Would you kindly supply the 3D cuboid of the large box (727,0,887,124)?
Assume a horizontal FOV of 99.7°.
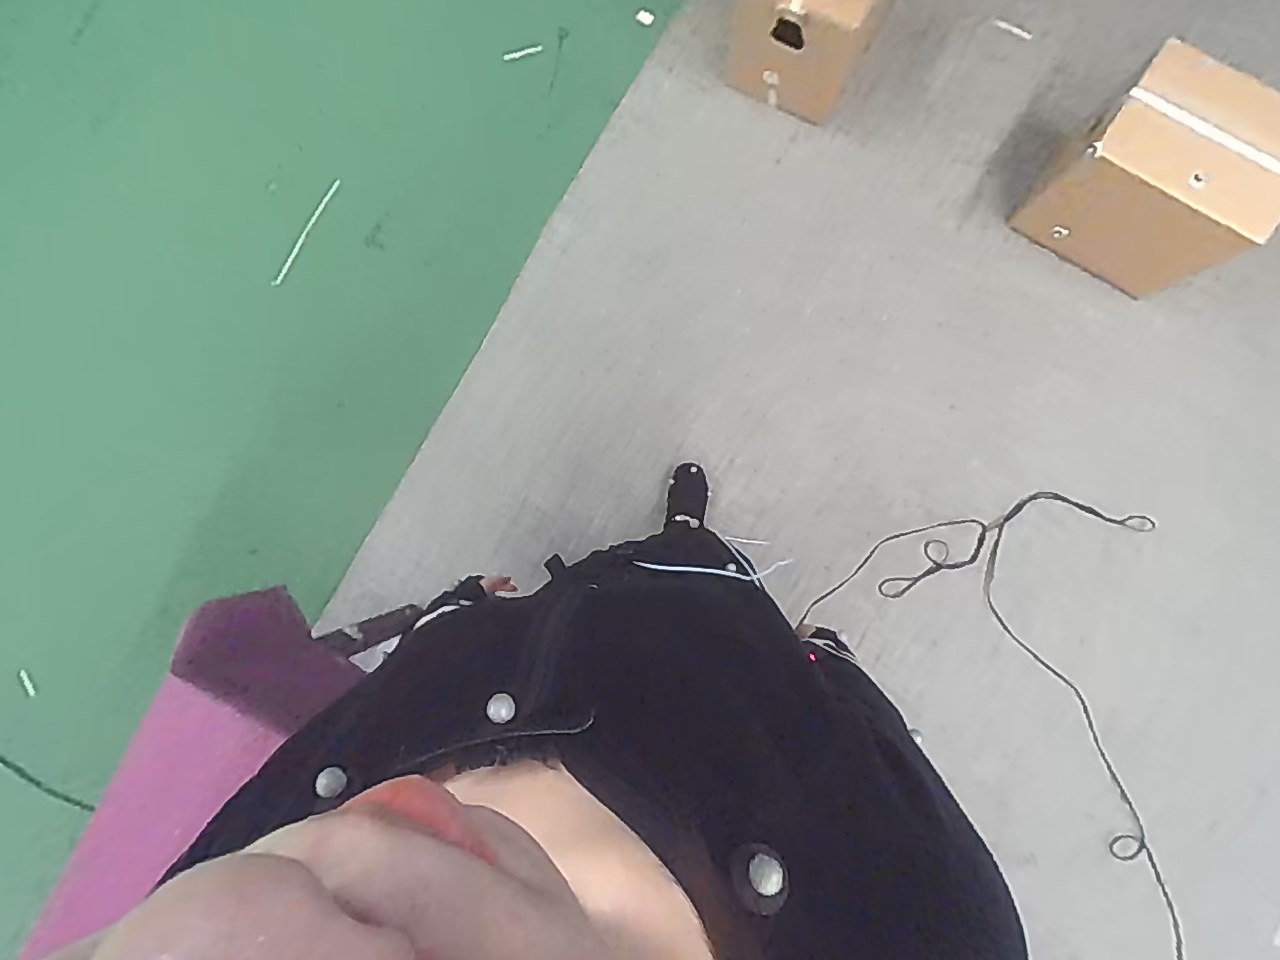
[{"bbox_3d":[0.459,-1.255,1.408,0.320,0.320,0.408,29,88,5],"label":"large box"}]
